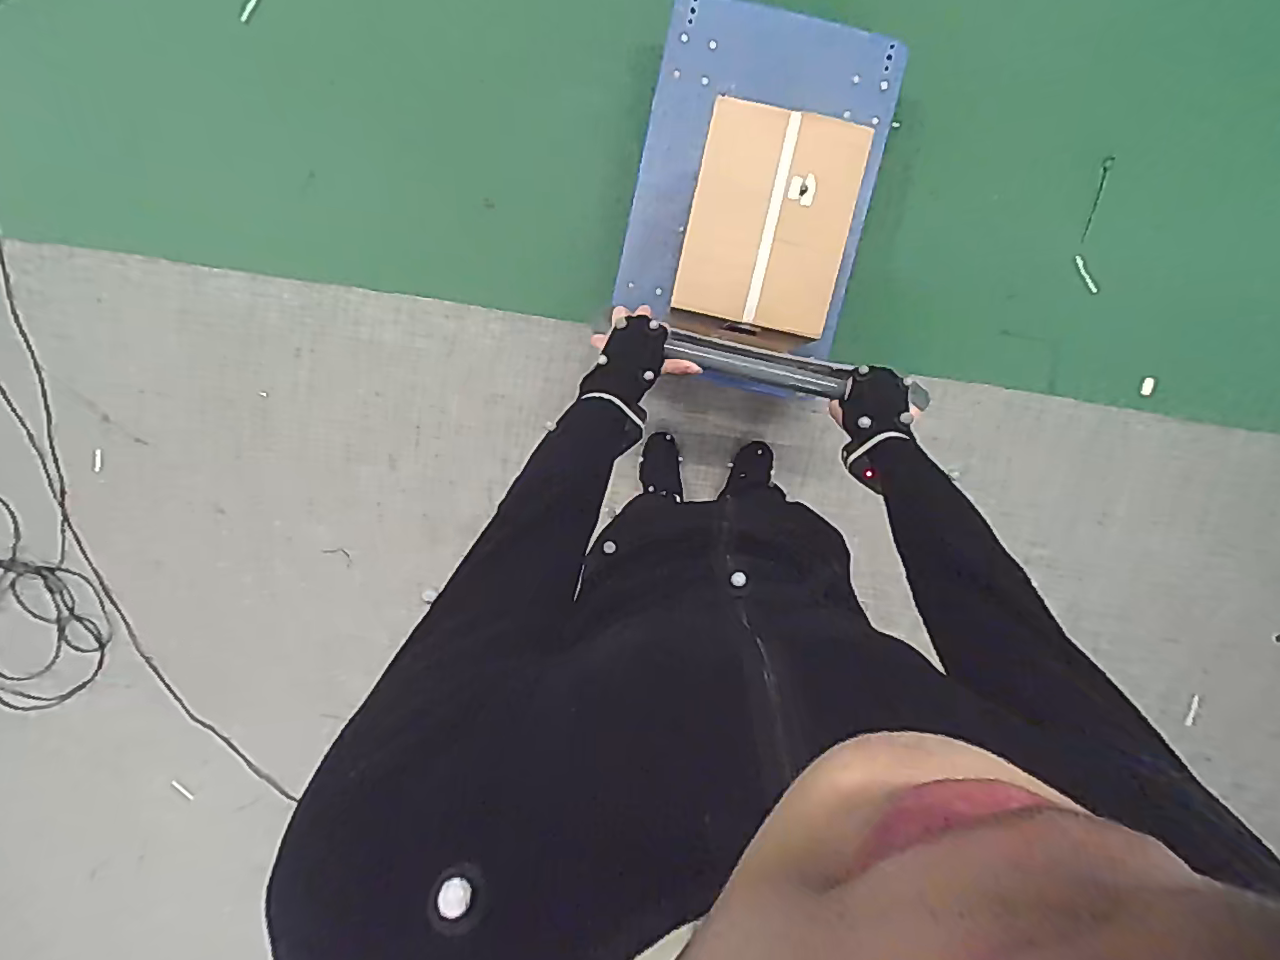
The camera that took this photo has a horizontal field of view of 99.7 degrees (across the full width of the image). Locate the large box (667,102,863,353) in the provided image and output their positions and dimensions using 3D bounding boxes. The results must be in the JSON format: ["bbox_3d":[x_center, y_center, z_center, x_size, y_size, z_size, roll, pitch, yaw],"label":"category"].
[{"bbox_3d":[0.249,-0.528,1.218,0.320,0.320,0.408,13,97,-1],"label":"large box"}]
